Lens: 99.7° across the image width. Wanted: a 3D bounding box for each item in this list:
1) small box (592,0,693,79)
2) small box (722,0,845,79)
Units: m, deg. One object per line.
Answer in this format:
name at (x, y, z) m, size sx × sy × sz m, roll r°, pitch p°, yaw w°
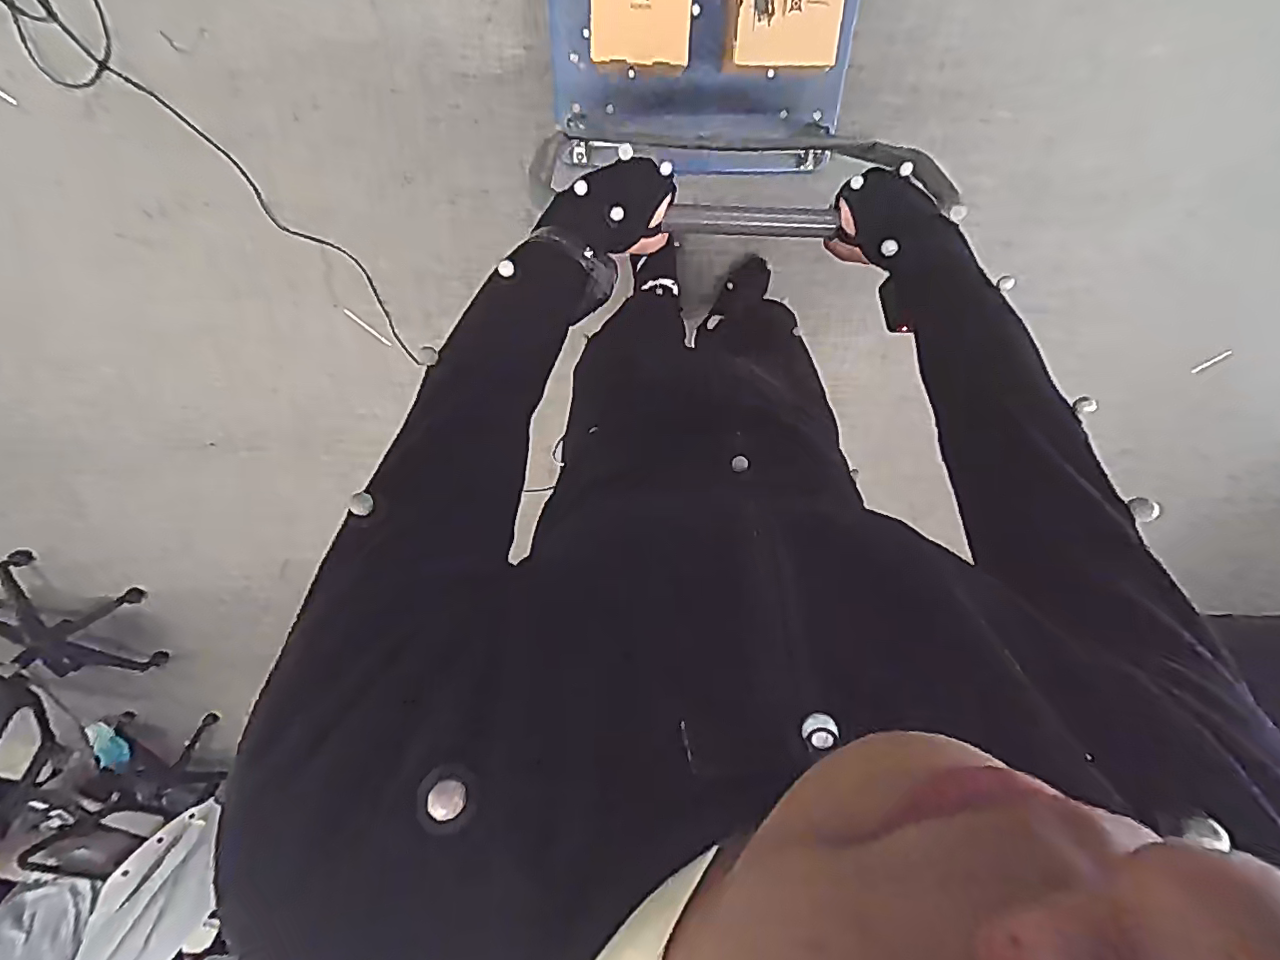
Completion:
small box at (0.002, -0.819, 0.941) m, size 0.168 × 0.176 × 0.179 m, roll 1°, pitch 123°, yaw -3°
small box at (0.244, -0.811, 0.945) m, size 0.179 × 0.176 × 0.168 m, roll 0°, pitch 123°, yaw -2°
